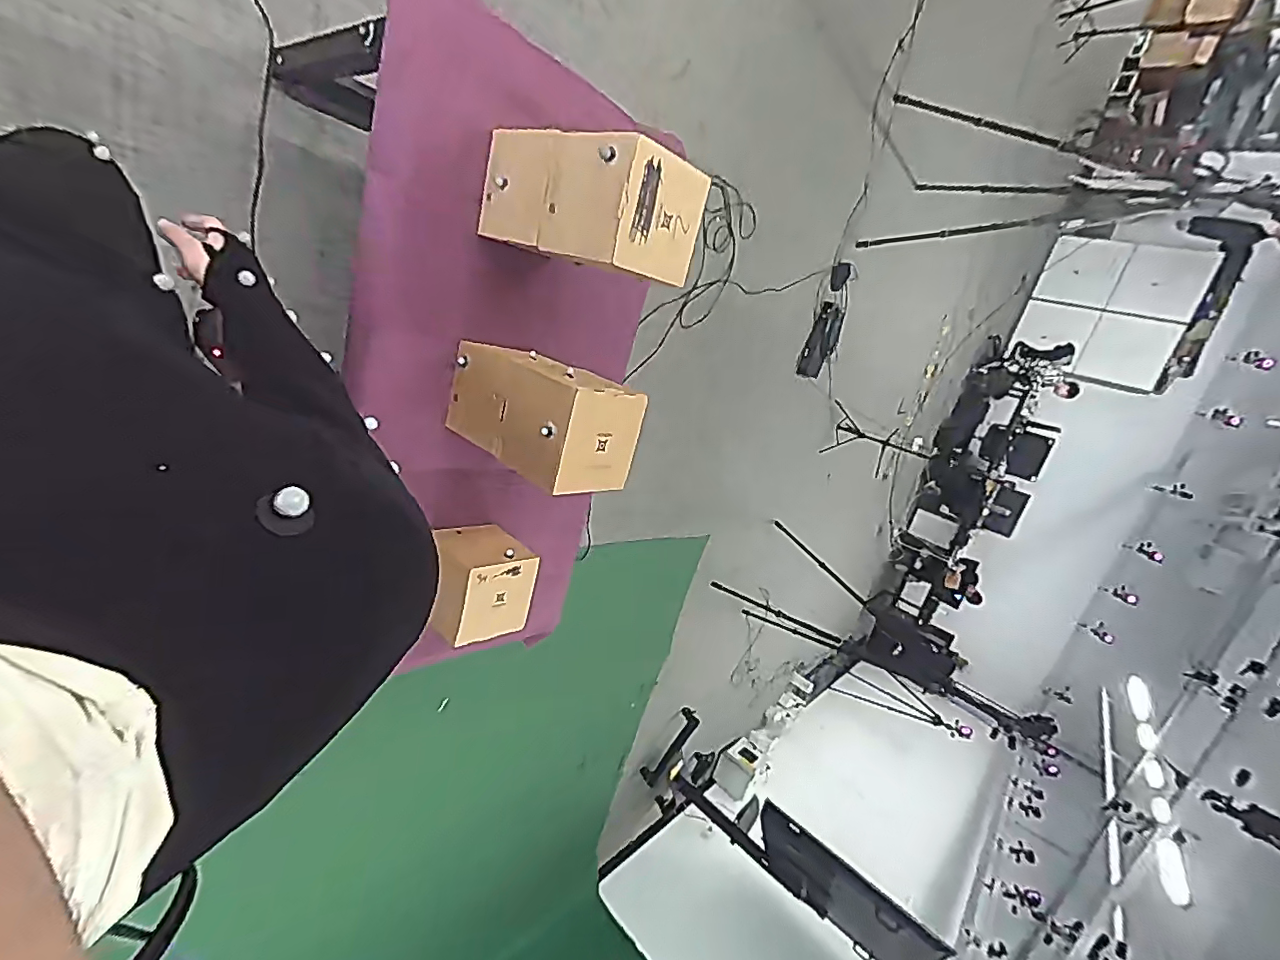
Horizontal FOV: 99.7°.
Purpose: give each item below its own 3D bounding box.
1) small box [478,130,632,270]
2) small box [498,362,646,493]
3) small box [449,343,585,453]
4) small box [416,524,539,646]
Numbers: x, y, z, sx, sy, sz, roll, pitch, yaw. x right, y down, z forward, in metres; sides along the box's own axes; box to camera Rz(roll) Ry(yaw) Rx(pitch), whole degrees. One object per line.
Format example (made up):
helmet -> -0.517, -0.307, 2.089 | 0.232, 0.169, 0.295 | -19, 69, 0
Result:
small box -> -0.146, -0.474, 0.922 | 0.179, 0.176, 0.168 | -5, 116, -49
small box -> -0.121, -0.093, 0.922 | 0.168, 0.176, 0.179 | -3, 115, -49
small box -> -0.236, -0.153, 1.020 | 0.179, 0.176, 0.168 | -5, 116, -50
small box -> -0.341, 0.209, 1.121 | 0.168, 0.176, 0.179 | -2, 114, -51
